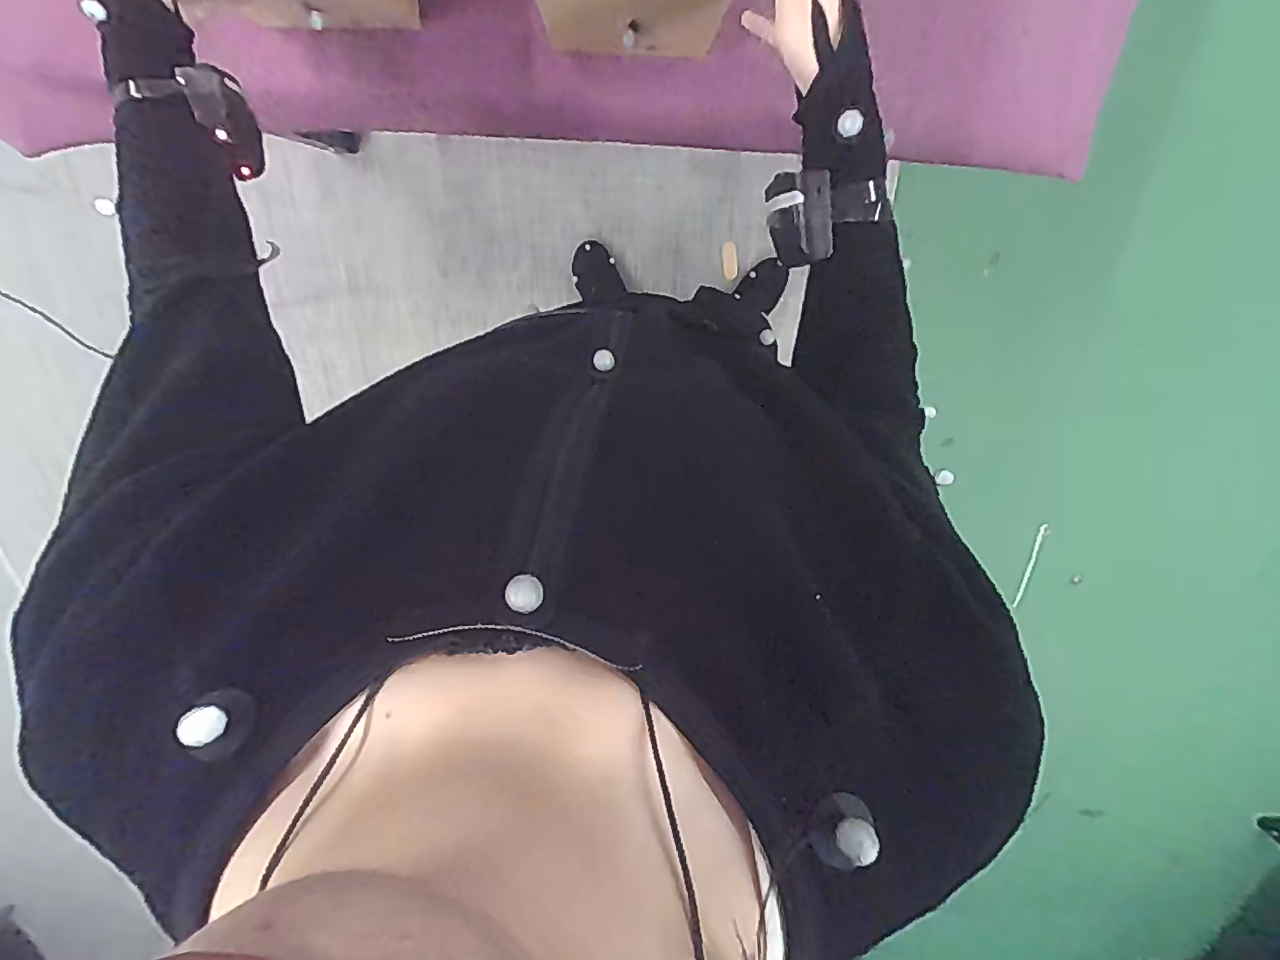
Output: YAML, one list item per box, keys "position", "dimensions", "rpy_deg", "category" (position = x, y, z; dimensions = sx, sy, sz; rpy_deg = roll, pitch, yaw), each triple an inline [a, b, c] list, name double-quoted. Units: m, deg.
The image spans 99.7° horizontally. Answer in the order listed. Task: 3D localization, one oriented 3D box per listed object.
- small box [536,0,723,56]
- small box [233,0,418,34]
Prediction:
- position: [-0.005, -0.498, 0.468]
  dimensions: [0.168, 0.176, 0.179]
  rpy_deg: [1, 113, -2]
  category: "small box"
- position: [-0.305, -0.511, 0.449]
  dimensions: [0.168, 0.176, 0.179]
  rpy_deg: [1, 115, 0]
  category: "small box"
